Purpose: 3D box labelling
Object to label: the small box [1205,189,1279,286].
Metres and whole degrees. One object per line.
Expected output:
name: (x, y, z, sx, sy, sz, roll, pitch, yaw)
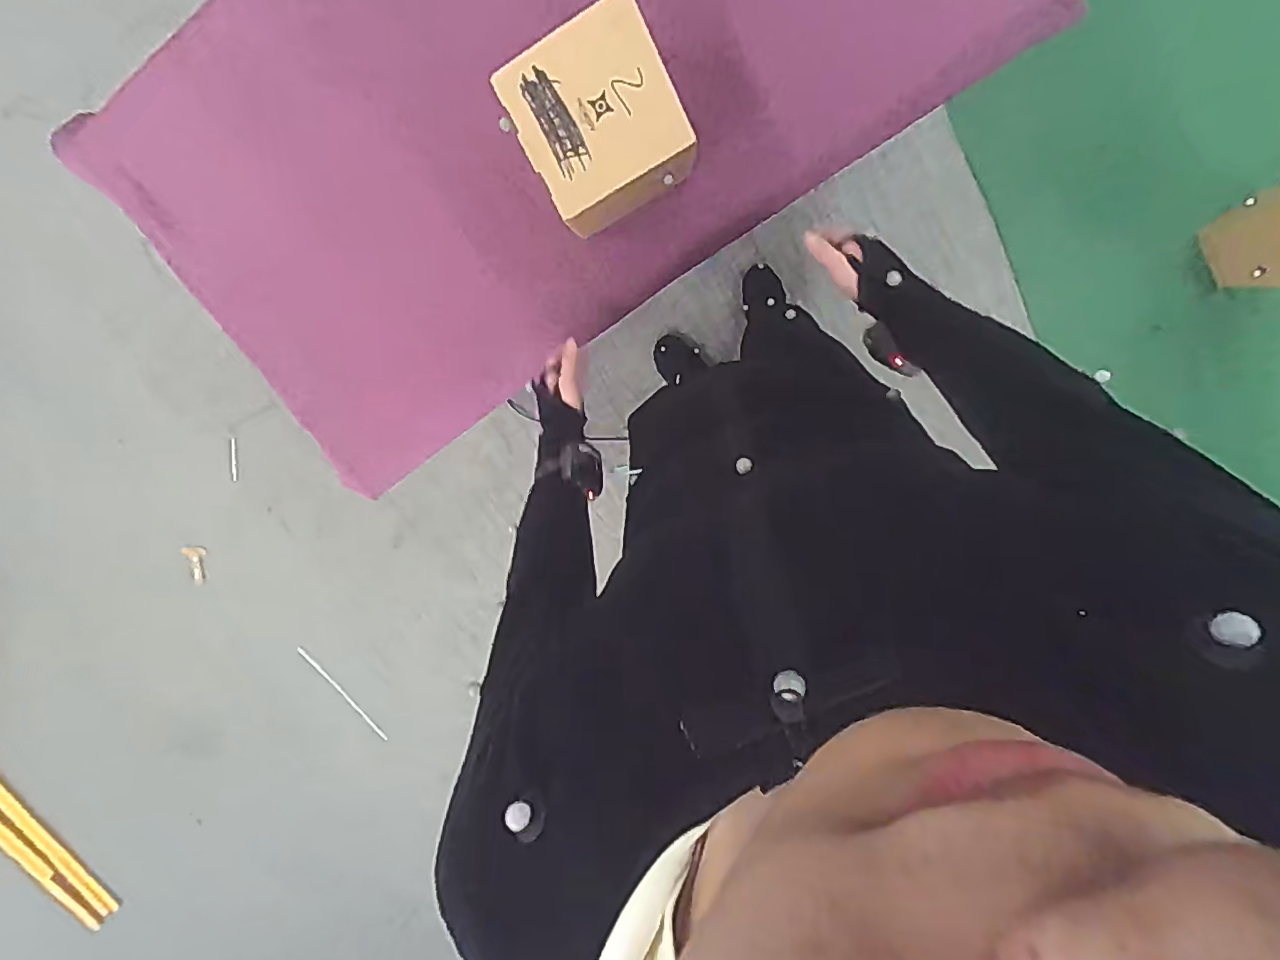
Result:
small box: (1.546, -0.591, 1.304, 0.168, 0.176, 0.179, -34, 104, 12)
